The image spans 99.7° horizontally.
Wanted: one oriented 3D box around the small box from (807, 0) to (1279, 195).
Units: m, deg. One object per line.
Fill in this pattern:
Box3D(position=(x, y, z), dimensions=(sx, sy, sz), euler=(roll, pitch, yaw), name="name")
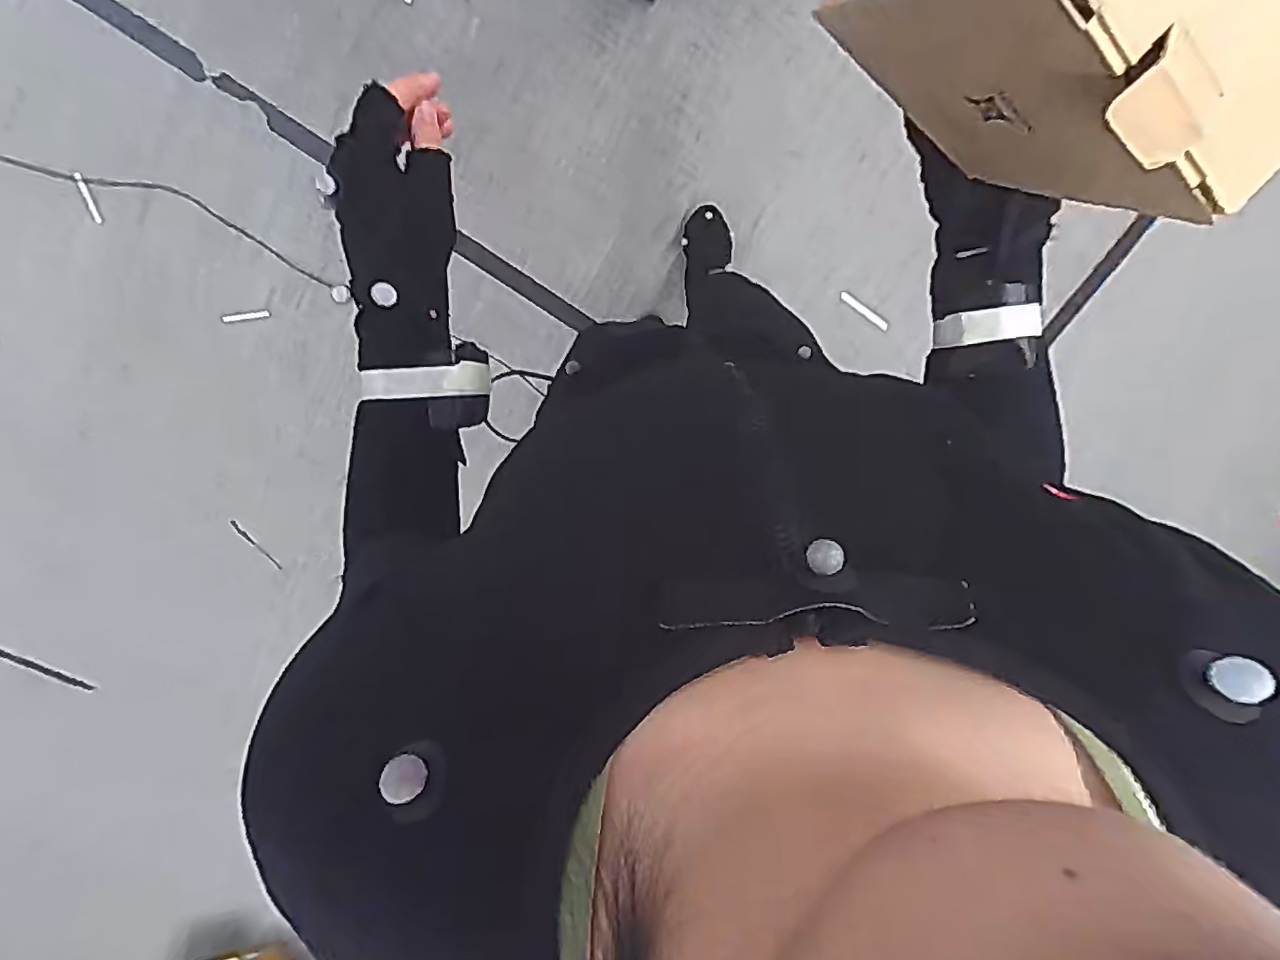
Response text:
Box3D(position=(0.222, -0.267, 0.250), dimensions=(0.168, 0.179, 0.176), euler=(21, 117, -27), name="small box")
